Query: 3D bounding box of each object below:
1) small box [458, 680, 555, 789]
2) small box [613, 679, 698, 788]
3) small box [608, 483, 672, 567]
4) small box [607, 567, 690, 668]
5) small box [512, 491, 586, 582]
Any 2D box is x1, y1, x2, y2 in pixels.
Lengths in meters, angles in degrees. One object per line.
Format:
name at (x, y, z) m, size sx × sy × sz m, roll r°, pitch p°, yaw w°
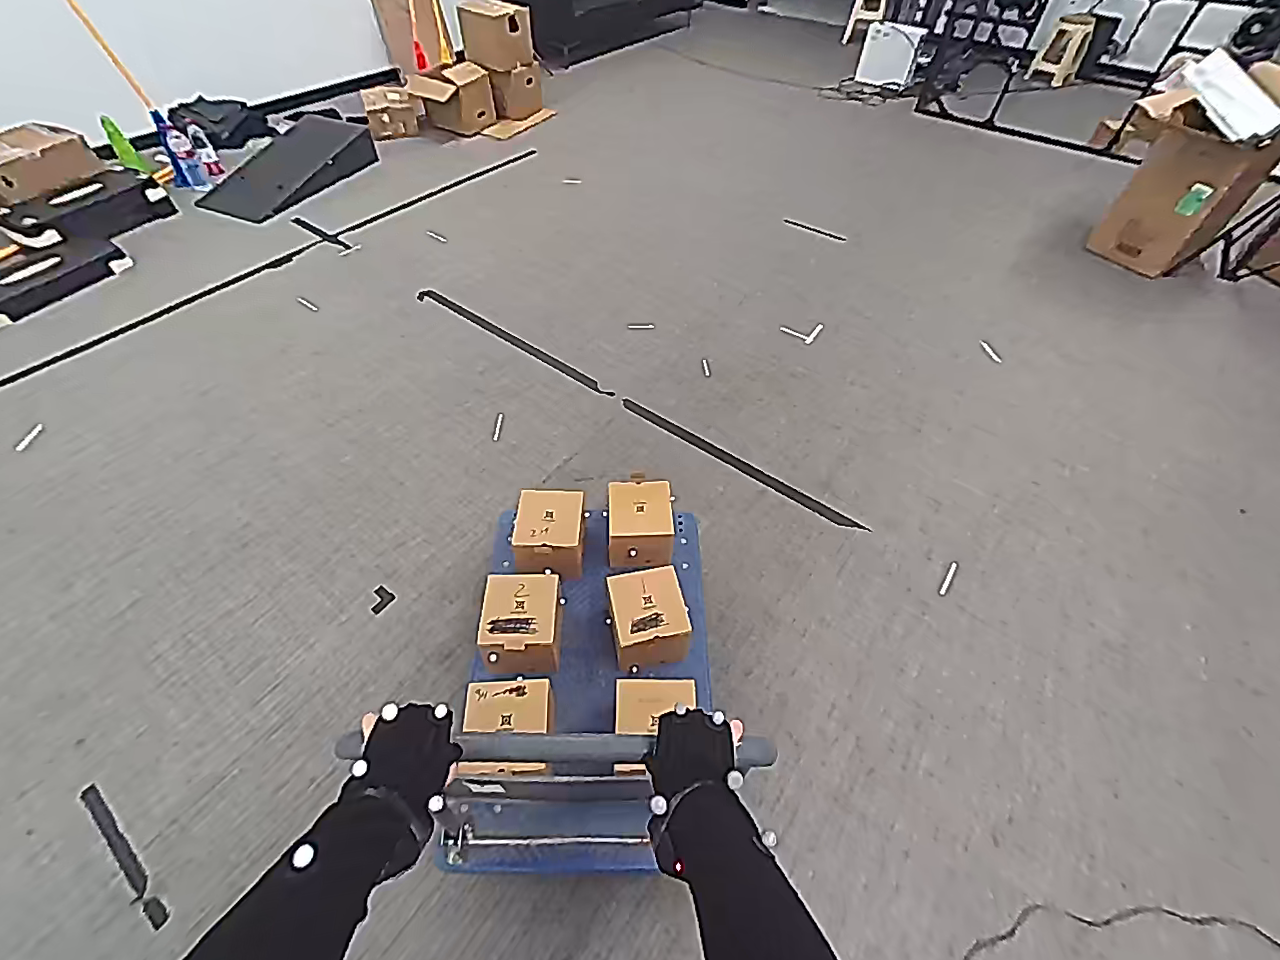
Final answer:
small box at (-0.268, 0.535, 1.127) m, size 0.168 × 0.176 × 0.179 m, roll -1°, pitch 51°, yaw -5°
small box at (0.030, 0.538, 1.141) m, size 0.168 × 0.176 × 0.179 m, roll 2°, pitch 50°, yaw -2°
small box at (-0.003, 0.128, 1.475) m, size 0.168 × 0.176 × 0.179 m, roll -2°, pitch 50°, yaw -3°
small box at (0.015, 0.338, 1.303) m, size 0.168 × 0.176 × 0.179 m, roll -8°, pitch 51°, yaw -9°
small box at (-0.235, 0.151, 1.444) m, size 0.168 × 0.176 × 0.179 m, roll 2°, pitch 52°, yaw 0°
